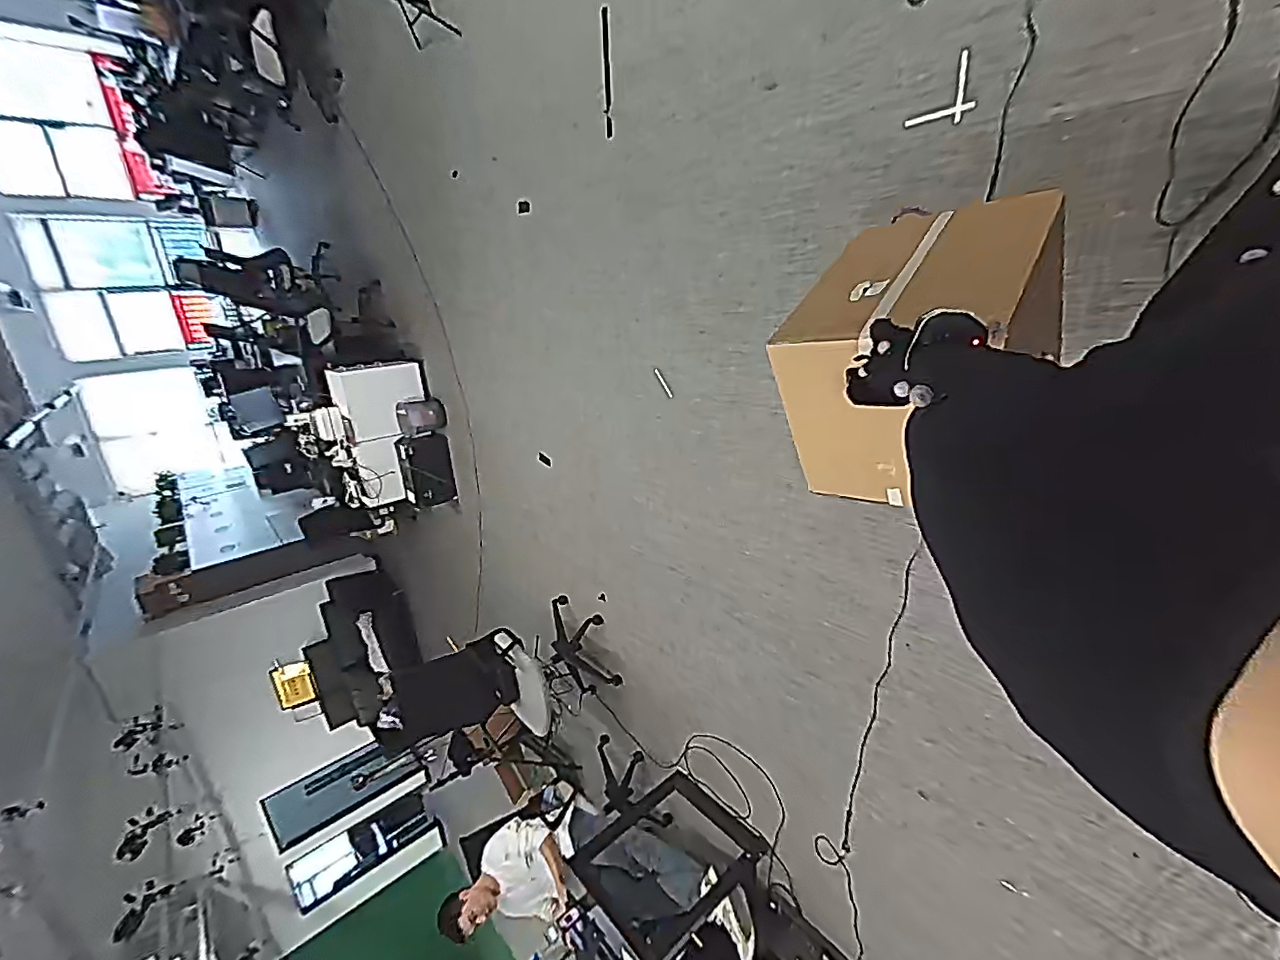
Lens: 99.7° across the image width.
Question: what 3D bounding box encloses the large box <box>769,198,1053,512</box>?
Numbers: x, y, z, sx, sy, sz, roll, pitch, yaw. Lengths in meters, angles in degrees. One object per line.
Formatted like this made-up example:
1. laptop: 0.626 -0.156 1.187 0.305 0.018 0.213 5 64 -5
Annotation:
1. large box: 0.475 -0.206 0.910 0.320 0.408 0.320 7 137 43
